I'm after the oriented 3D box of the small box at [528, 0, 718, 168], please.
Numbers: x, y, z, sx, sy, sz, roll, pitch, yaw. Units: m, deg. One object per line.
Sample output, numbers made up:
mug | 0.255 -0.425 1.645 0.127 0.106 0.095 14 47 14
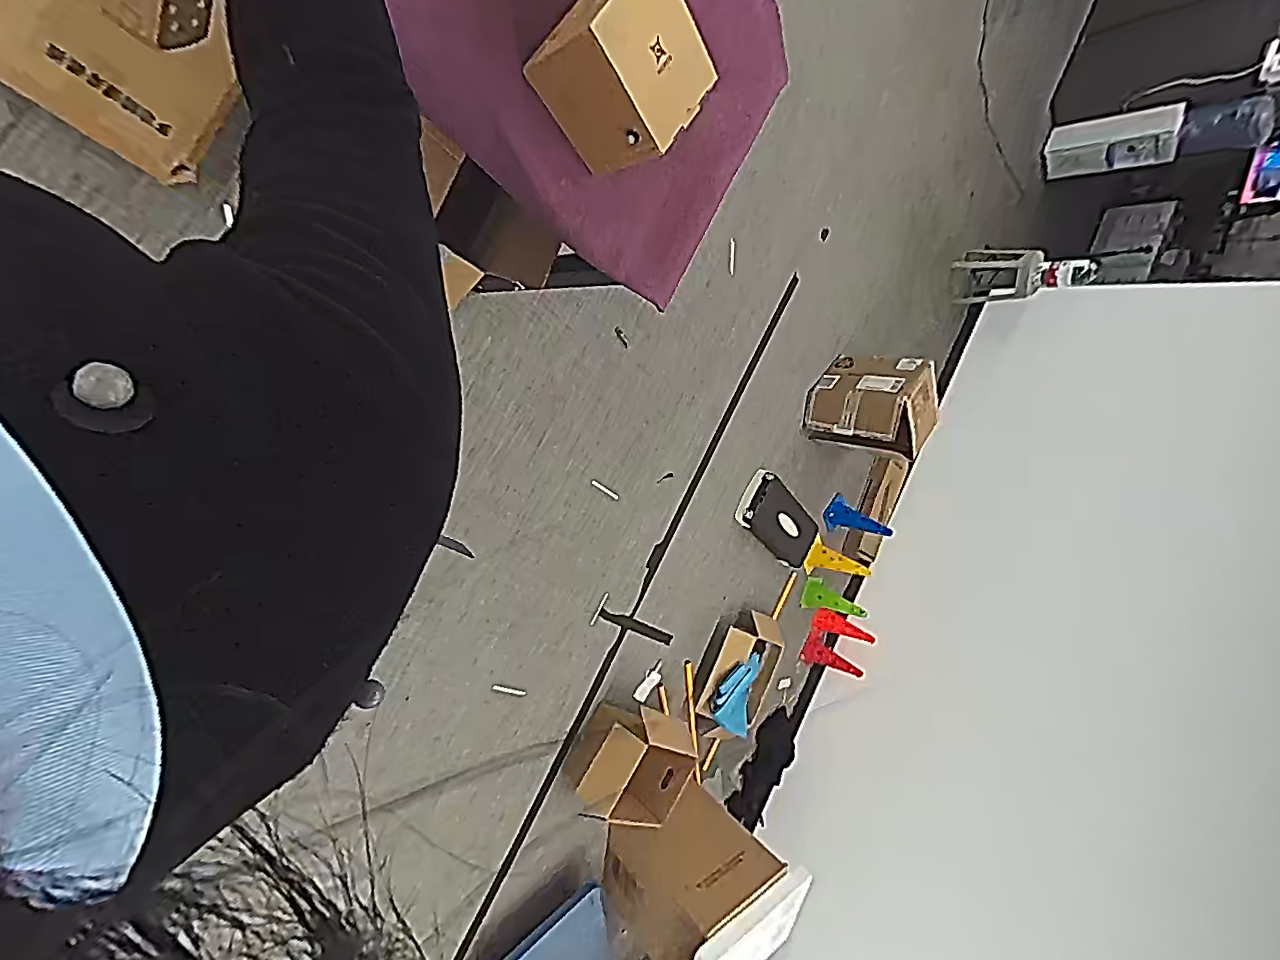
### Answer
small box | -0.026 -0.585 0.775 0.179 0.176 0.168 43 74 -43
